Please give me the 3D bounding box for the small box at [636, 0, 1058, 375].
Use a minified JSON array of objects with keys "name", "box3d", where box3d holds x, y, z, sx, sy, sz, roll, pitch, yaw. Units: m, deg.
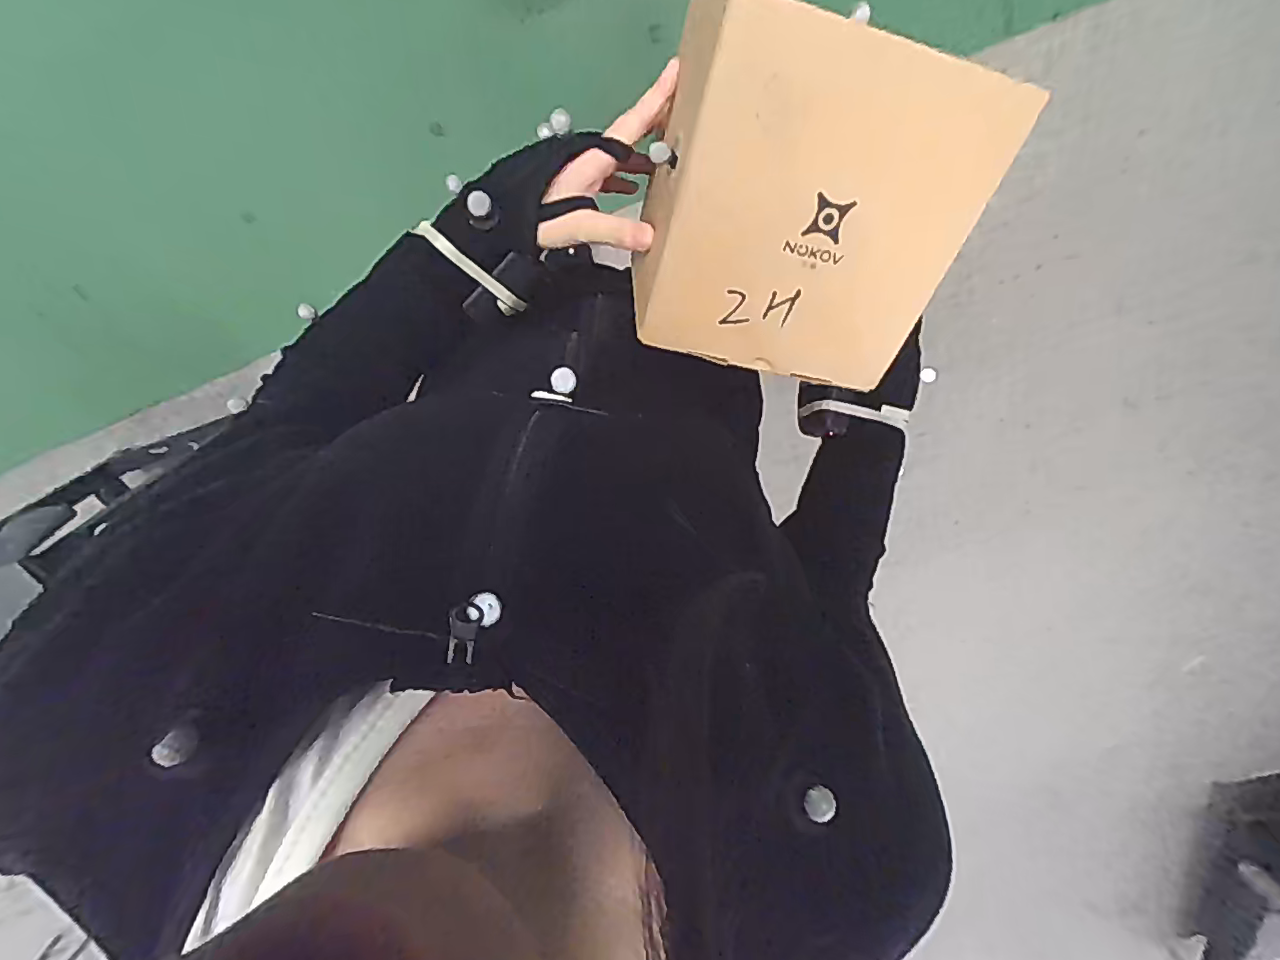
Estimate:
[{"name":"small box","box3d":[0.094,-0.197,0.349,0.168,0.176,0.179,9,129,-10]}]
